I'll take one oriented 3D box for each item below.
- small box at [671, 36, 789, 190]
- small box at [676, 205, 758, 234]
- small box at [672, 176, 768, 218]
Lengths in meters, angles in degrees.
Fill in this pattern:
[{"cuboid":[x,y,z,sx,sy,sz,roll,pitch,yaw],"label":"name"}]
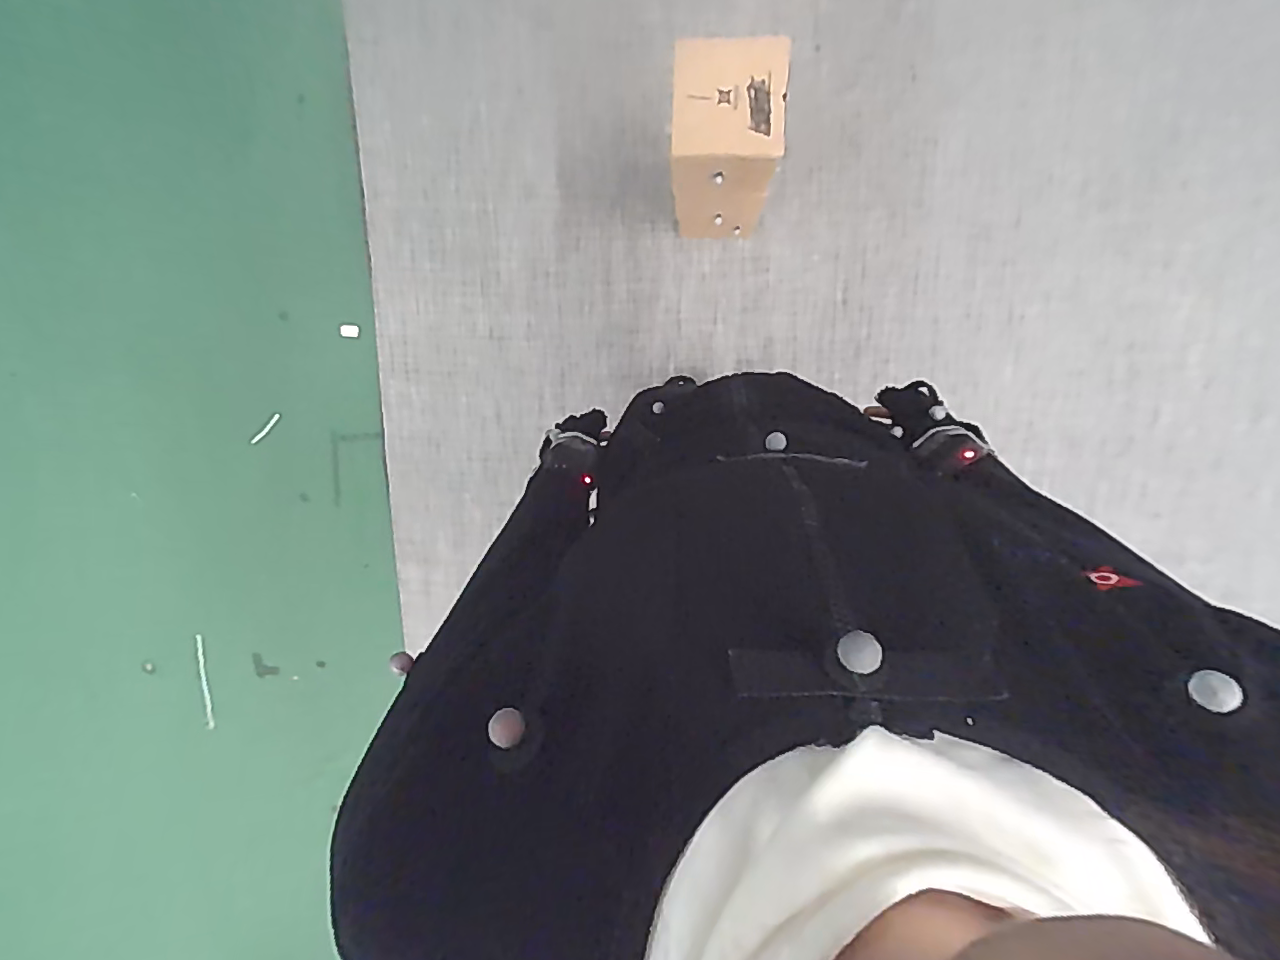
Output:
[{"cuboid":[0.141,-0.601,0.906,0.179,0.176,0.168,0,101,4],"label":"small box"},{"cuboid":[0.173,-0.666,1.226,0.179,0.176,0.168,1,100,6],"label":"small box"},{"cuboid":[0.158,-0.630,1.067,0.179,0.176,0.168,5,101,3],"label":"small box"}]
